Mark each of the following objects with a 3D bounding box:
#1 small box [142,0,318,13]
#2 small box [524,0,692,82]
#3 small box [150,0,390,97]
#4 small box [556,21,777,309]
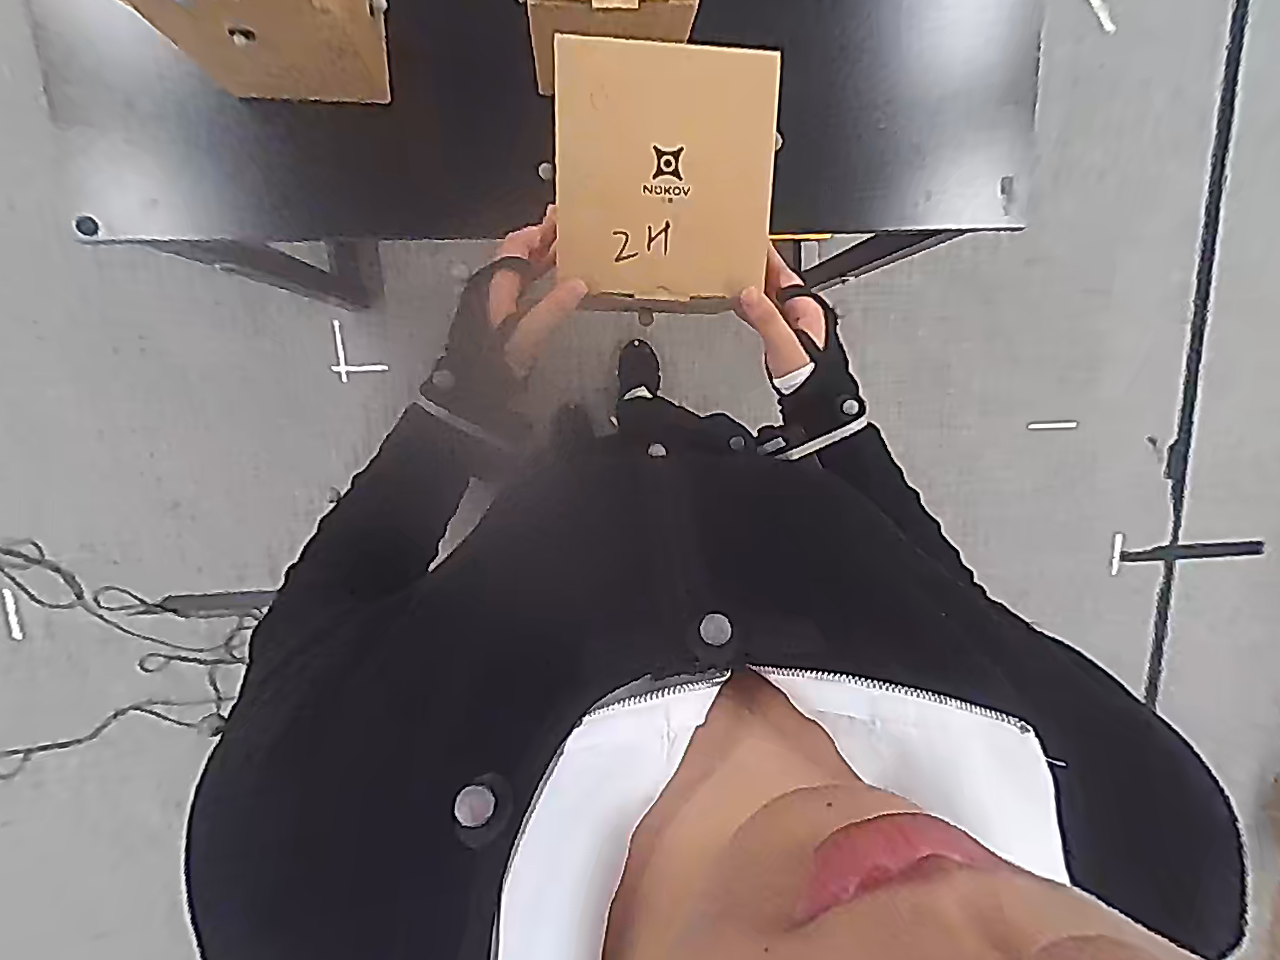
[{"bbox_3d":[-0.358,-0.488,0.383,0.168,0.176,0.179,-3,101,-5],"label":"small box"},{"bbox_3d":[-0.039,-0.553,0.576,0.168,0.176,0.179,-4,100,-5],"label":"small box"},{"bbox_3d":[-0.374,-0.517,0.542,0.179,0.176,0.168,-2,100,-7],"label":"small box"},{"bbox_3d":[0.011,-0.255,0.484,0.168,0.176,0.179,0,102,-5],"label":"small box"}]
